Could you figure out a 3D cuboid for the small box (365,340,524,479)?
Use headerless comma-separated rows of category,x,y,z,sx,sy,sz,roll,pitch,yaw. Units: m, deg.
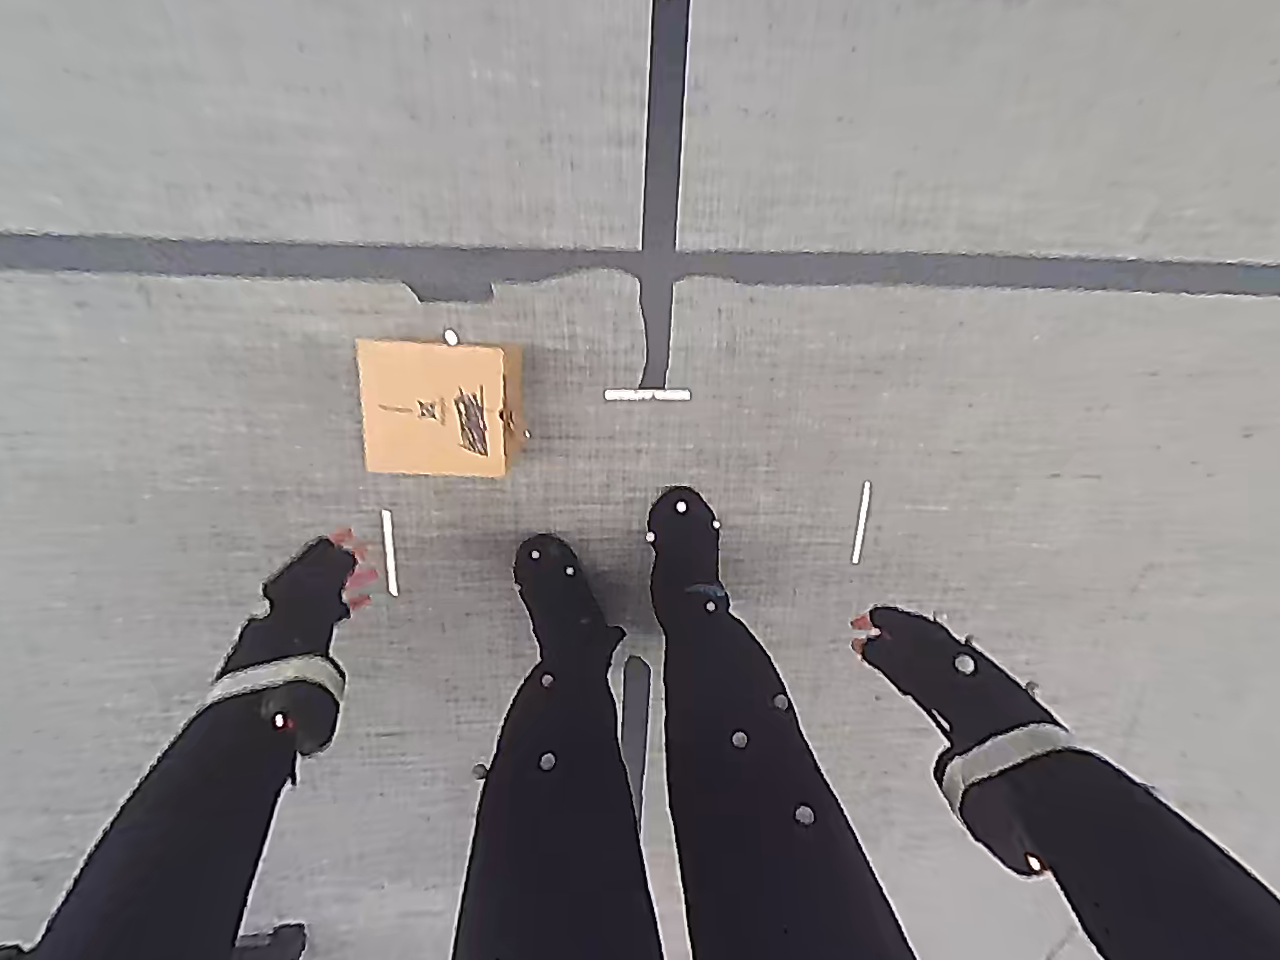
small box,-0.260,-0.105,0.760,0.179,0.176,0.168,3,105,-5
